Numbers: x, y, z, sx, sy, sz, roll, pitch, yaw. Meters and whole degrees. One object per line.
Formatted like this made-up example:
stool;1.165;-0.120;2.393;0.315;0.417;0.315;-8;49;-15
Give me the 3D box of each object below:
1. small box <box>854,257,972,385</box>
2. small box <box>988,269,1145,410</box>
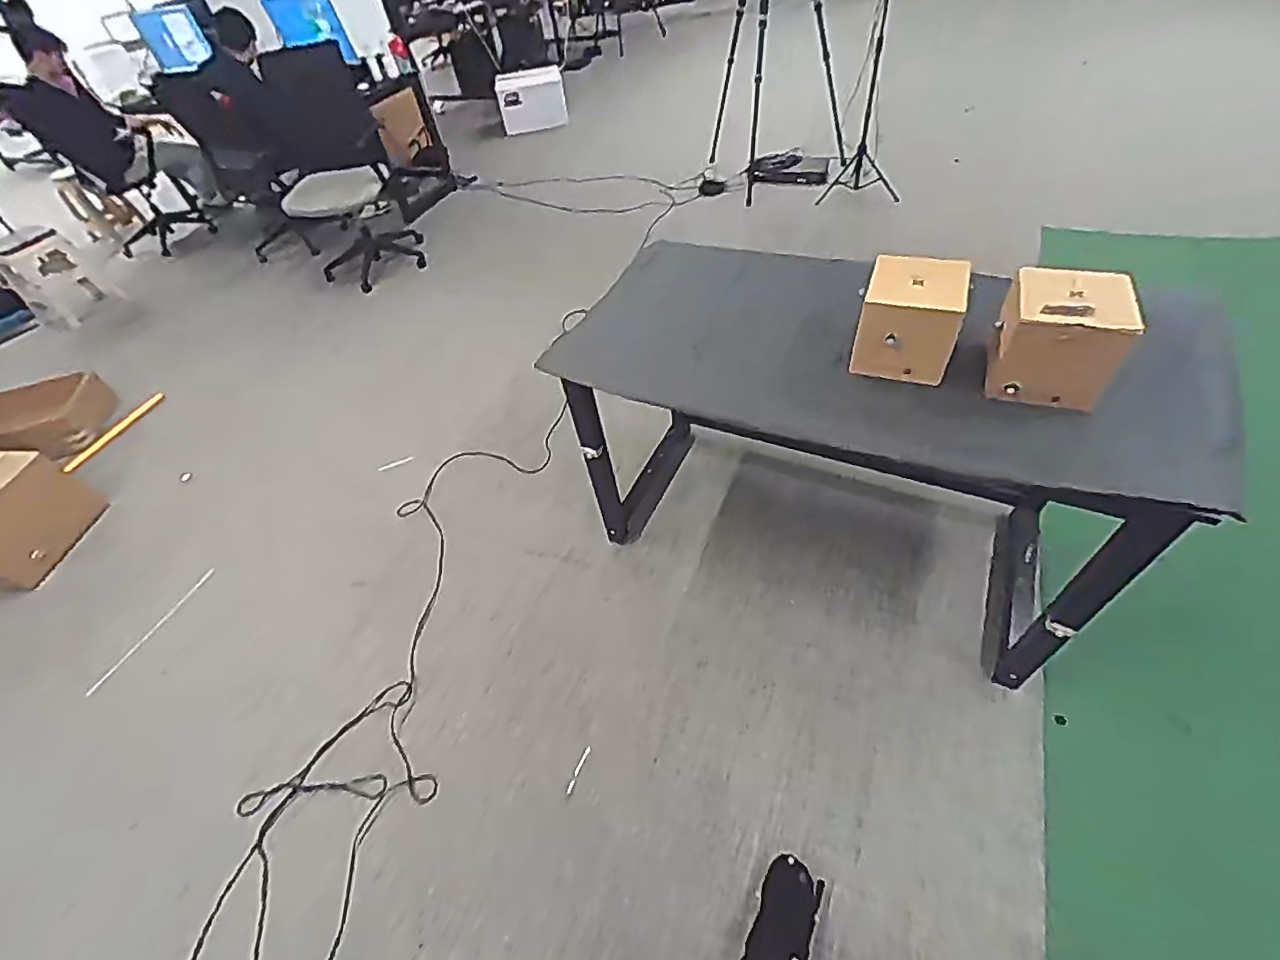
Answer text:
small box;0.520;-0.305;1.043;0.168;0.176;0.179;14;52;21
small box;0.734;-0.246;0.951;0.168;0.176;0.179;13;52;20
